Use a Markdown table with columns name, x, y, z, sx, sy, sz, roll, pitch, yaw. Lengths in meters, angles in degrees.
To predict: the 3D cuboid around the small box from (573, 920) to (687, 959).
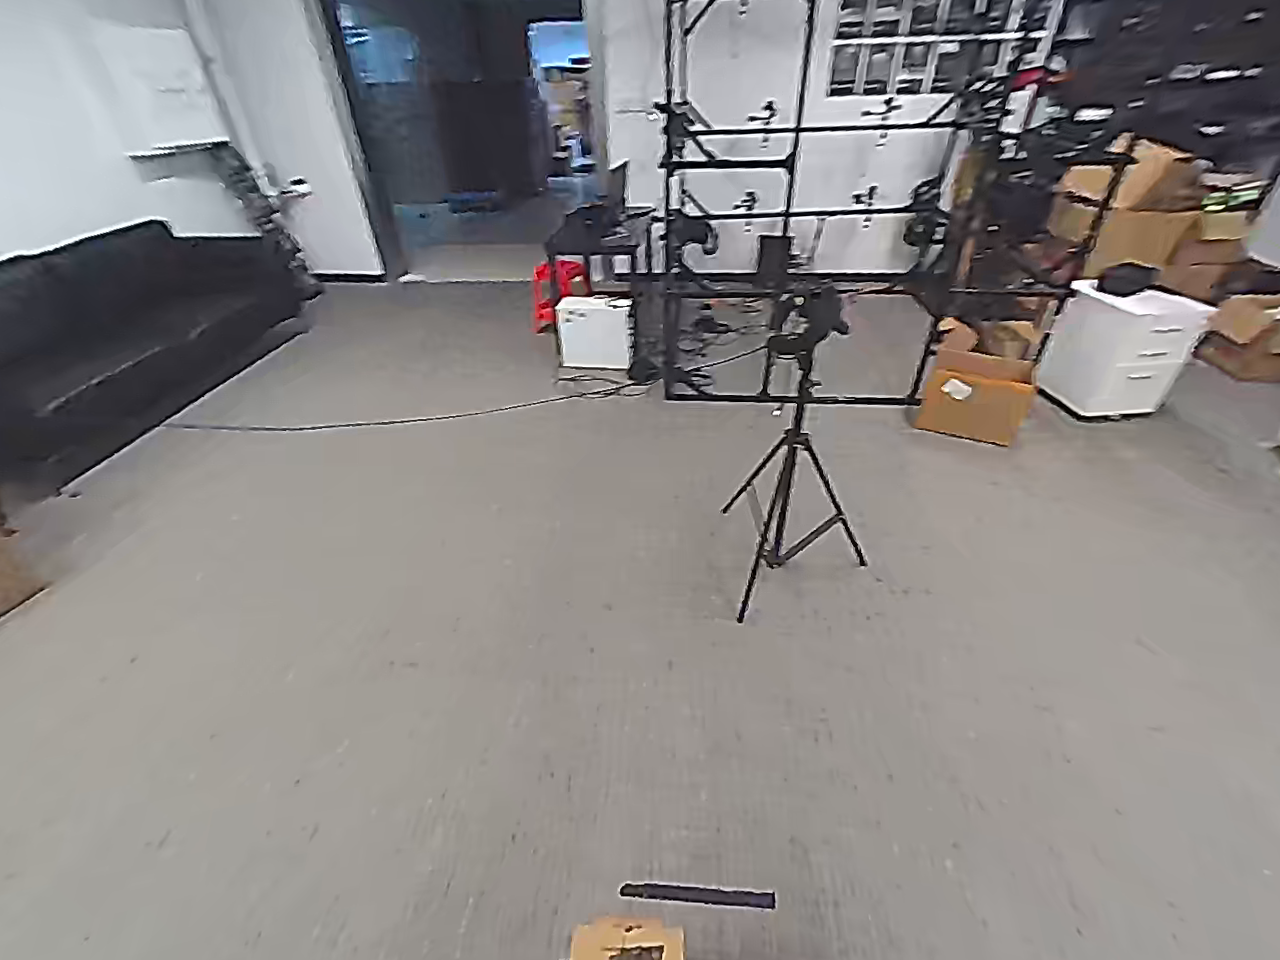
| name | x | y | z | sx | sy | sz | roll | pitch | yaw |
| --- | --- | --- | --- | --- | --- | --- | --- | --- | --- |
| small box | -0.017 | 0.778 | 0.785 | 0.168 | 0.176 | 0.179 | 0 | 36 | 3 |
